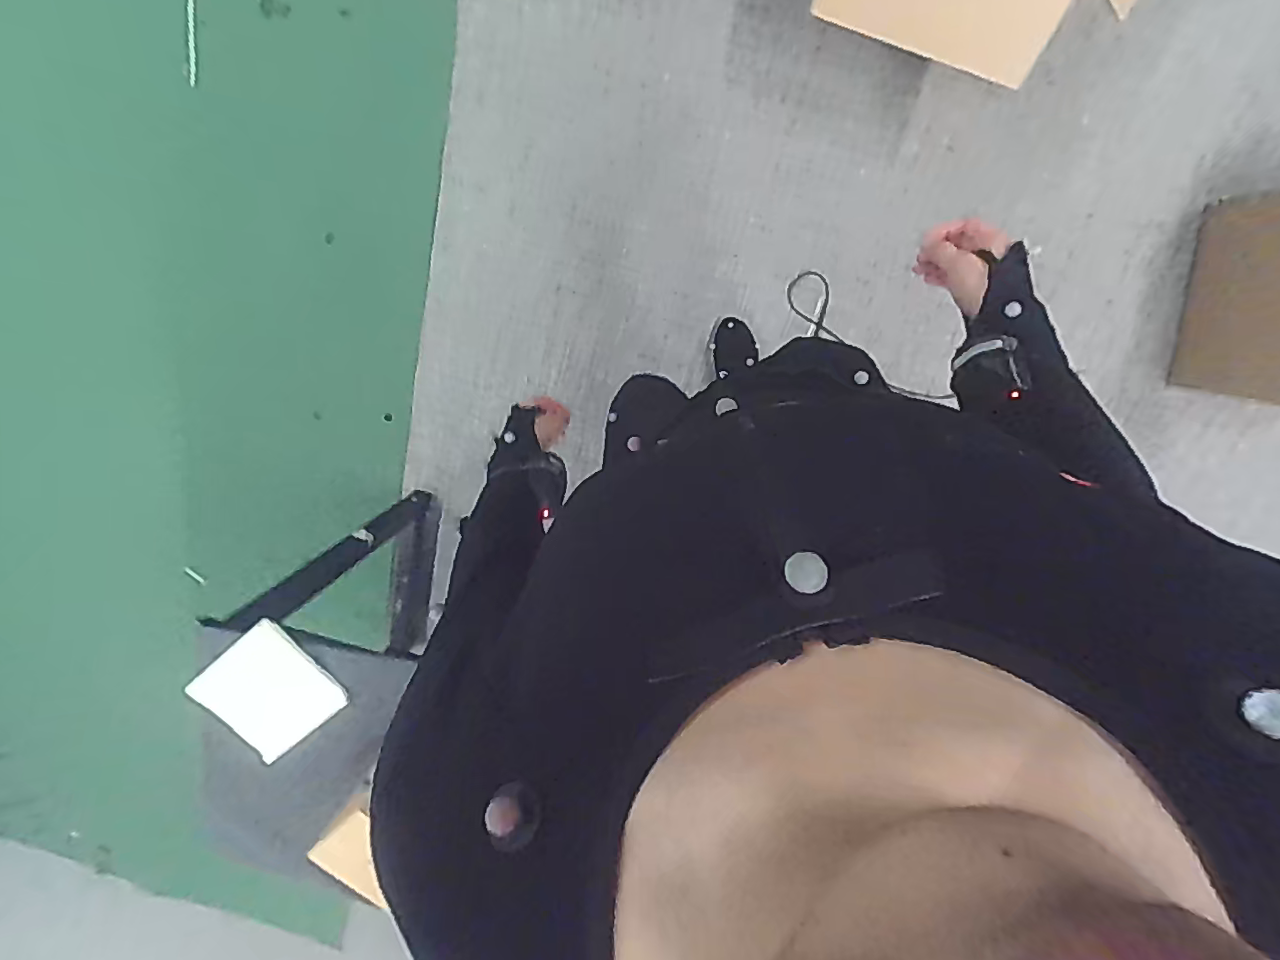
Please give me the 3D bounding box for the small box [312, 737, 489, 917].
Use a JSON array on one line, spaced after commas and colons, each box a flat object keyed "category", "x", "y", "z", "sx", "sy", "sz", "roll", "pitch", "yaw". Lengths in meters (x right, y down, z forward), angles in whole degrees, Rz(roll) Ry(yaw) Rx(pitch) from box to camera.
[{"category": "small box", "x": -0.392, "y": 0.570, "z": 0.913, "sx": 0.179, "sy": 0.176, "sz": 0.168, "roll": 43, "pitch": 109, "yaw": -9}]
